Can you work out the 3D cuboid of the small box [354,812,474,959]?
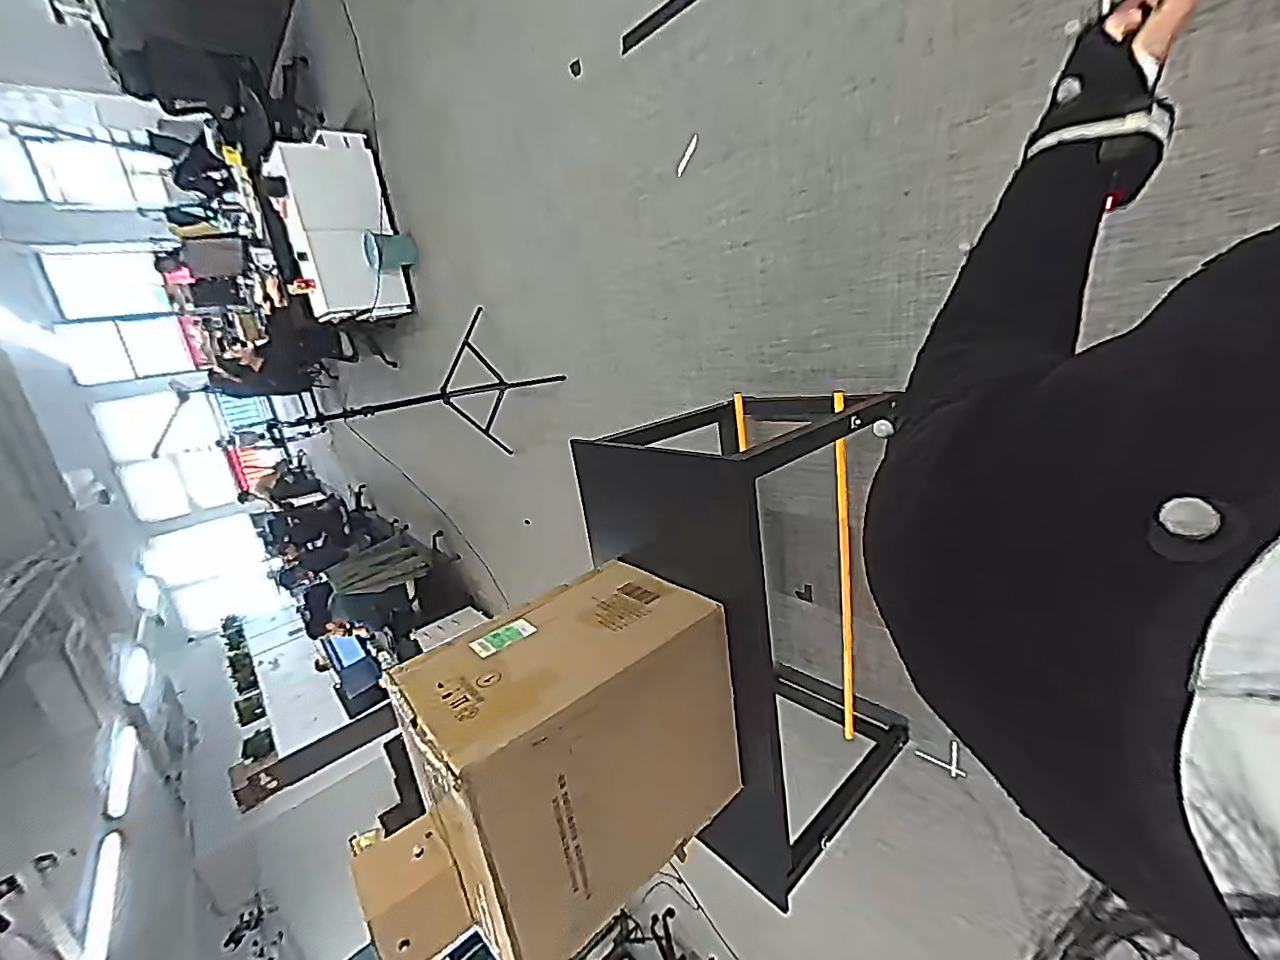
[{"bbox_3d":[-0.455,0.834,1.100,0.168,0.176,0.179,13,115,51],"label":"small box"}]
